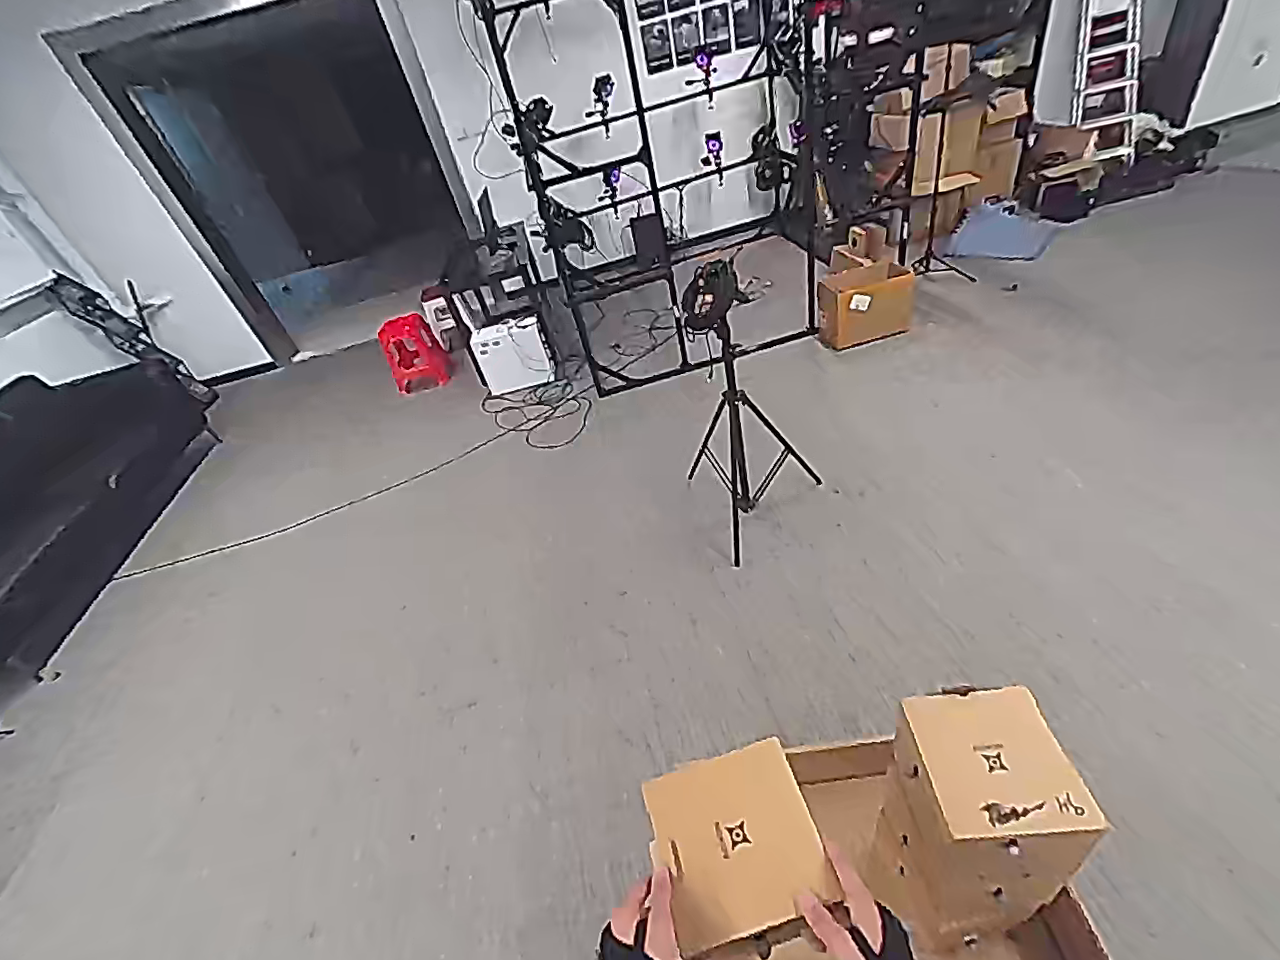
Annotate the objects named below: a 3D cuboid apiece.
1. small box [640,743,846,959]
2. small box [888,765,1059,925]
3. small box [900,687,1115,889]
[{"bbox_3d":[0.117,0.441,0.631,0.179,0.176,0.168,-20,43,0],"label":"small box"},{"bbox_3d":[0.489,0.529,0.802,0.179,0.176,0.168,-14,37,4],"label":"small box"},{"bbox_3d":[0.453,0.400,0.706,0.168,0.176,0.179,-10,37,10],"label":"small box"}]
